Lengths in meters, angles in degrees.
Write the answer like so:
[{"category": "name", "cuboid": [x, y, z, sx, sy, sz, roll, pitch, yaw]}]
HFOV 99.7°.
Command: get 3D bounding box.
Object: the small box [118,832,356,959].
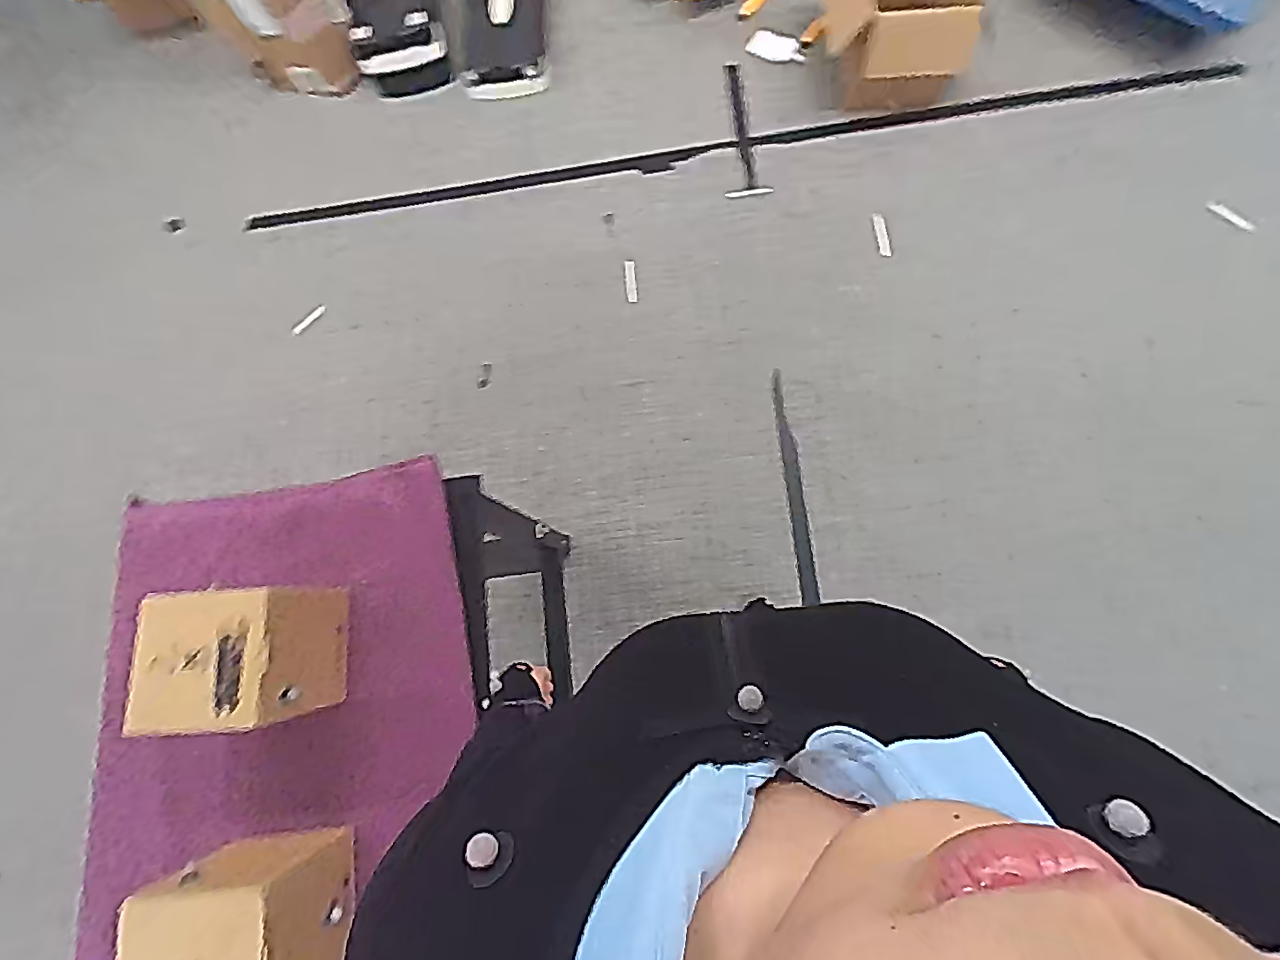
[{"category": "small box", "cuboid": [-0.482, 0.563, 0.664, 0.179, 0.176, 0.168, -8, 77, 3]}]
